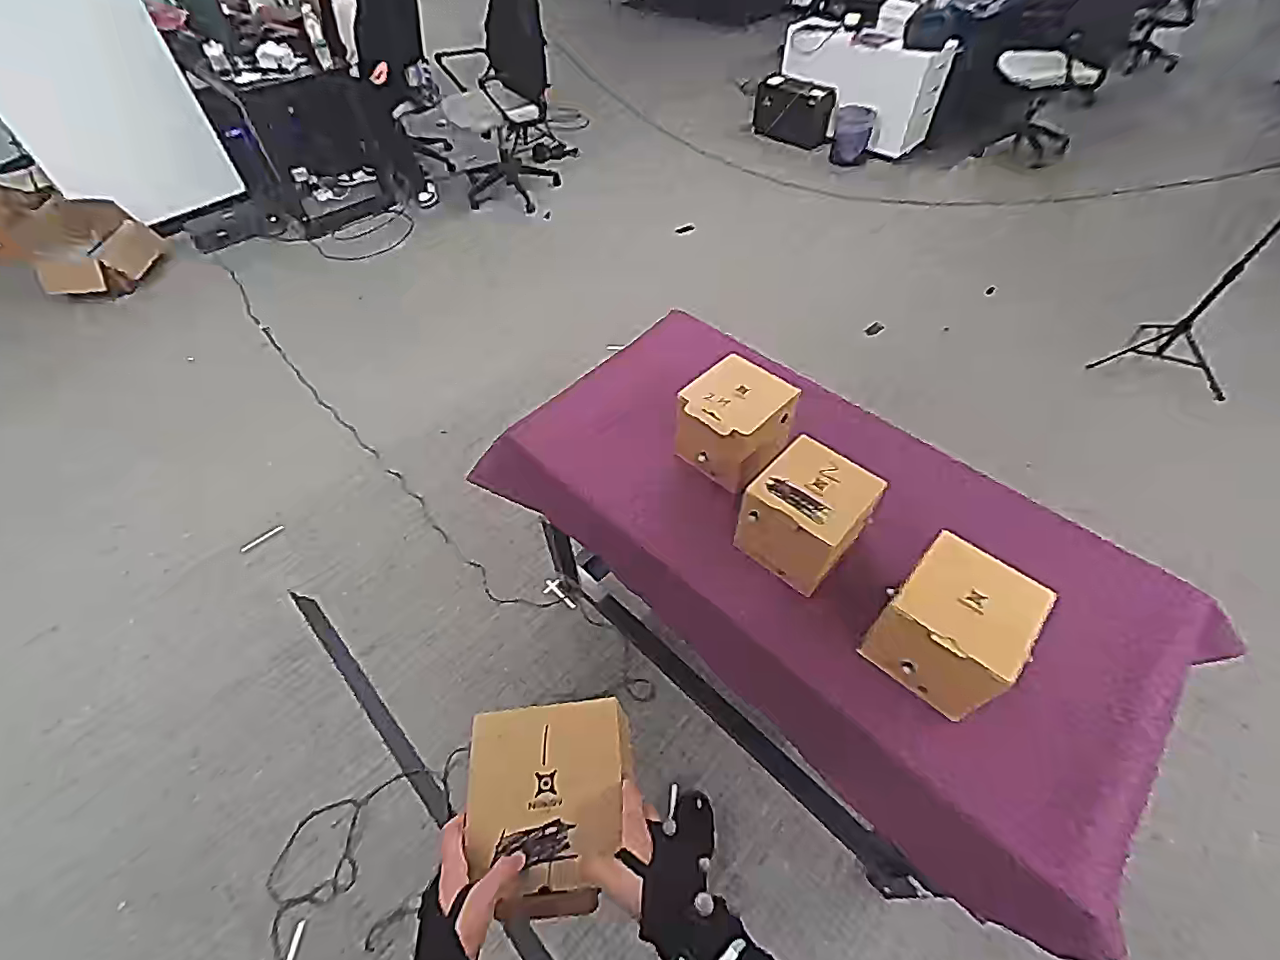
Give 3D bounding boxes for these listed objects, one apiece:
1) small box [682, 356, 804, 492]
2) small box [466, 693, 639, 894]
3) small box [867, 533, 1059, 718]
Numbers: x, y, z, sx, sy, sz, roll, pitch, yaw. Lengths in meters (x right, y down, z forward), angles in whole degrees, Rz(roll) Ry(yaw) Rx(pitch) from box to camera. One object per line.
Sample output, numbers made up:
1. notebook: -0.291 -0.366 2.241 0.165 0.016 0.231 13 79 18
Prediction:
1. small box: 0.196 -0.111 1.085 0.168 0.176 0.179 37 61 26
2. small box: -0.092 0.364 0.639 0.168 0.176 0.179 -6 57 0
3. small box: 0.476 0.222 0.820 0.168 0.176 0.179 36 60 25
